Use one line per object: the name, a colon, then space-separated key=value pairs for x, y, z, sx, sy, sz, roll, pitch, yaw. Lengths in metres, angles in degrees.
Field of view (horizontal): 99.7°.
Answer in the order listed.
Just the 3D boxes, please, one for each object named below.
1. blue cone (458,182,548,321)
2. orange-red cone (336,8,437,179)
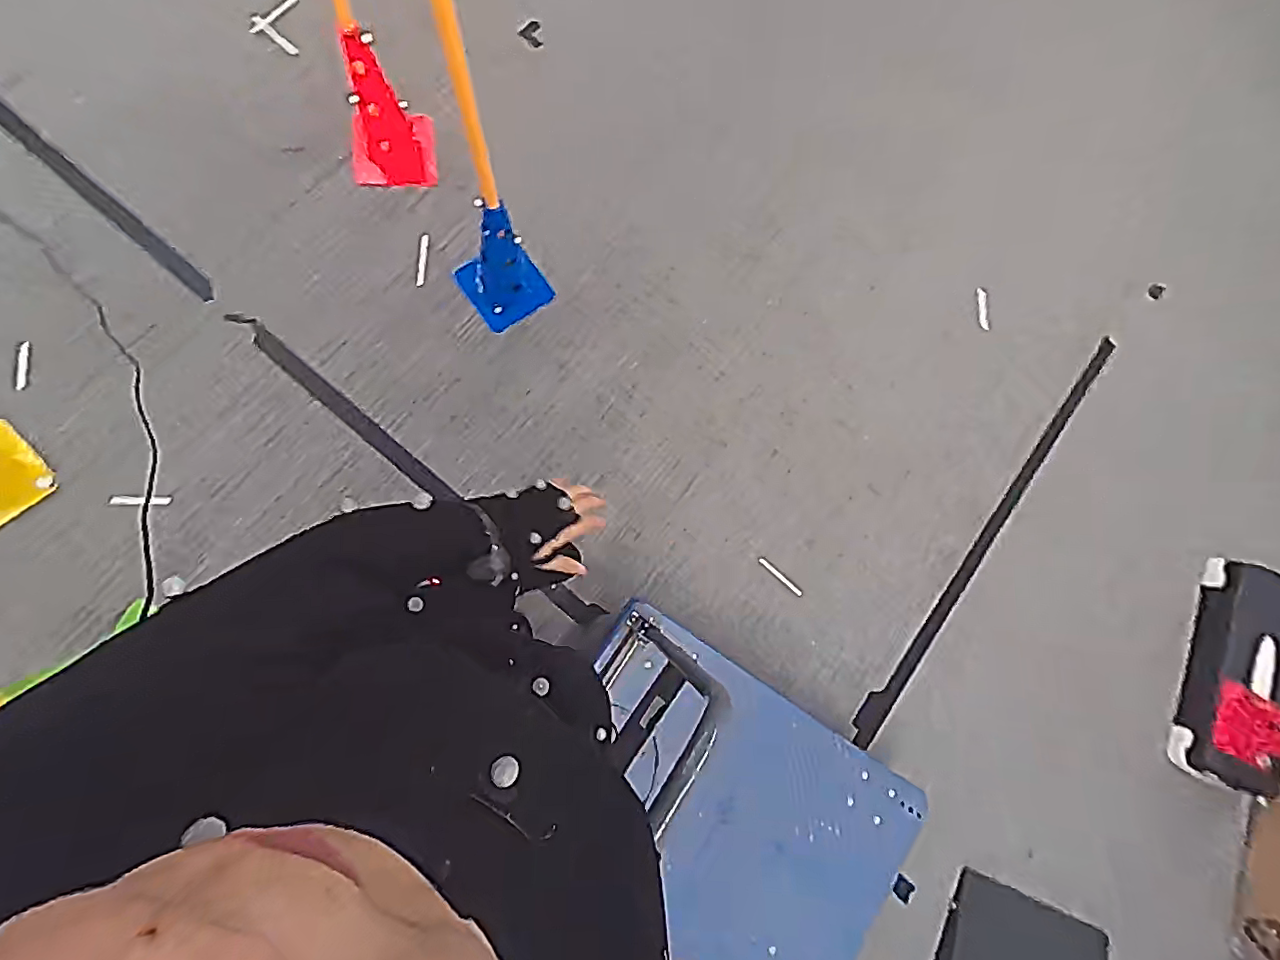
blue cone: x=-0.330 y=-0.546 z=1.256 sx=0.193 sy=0.380 sz=0.192 roll=-34 pitch=89 yaw=-12
orange-red cone: x=-0.606 y=-0.892 z=1.235 sx=0.198 sy=0.360 sz=0.199 roll=-3 pitch=85 yaw=-10
